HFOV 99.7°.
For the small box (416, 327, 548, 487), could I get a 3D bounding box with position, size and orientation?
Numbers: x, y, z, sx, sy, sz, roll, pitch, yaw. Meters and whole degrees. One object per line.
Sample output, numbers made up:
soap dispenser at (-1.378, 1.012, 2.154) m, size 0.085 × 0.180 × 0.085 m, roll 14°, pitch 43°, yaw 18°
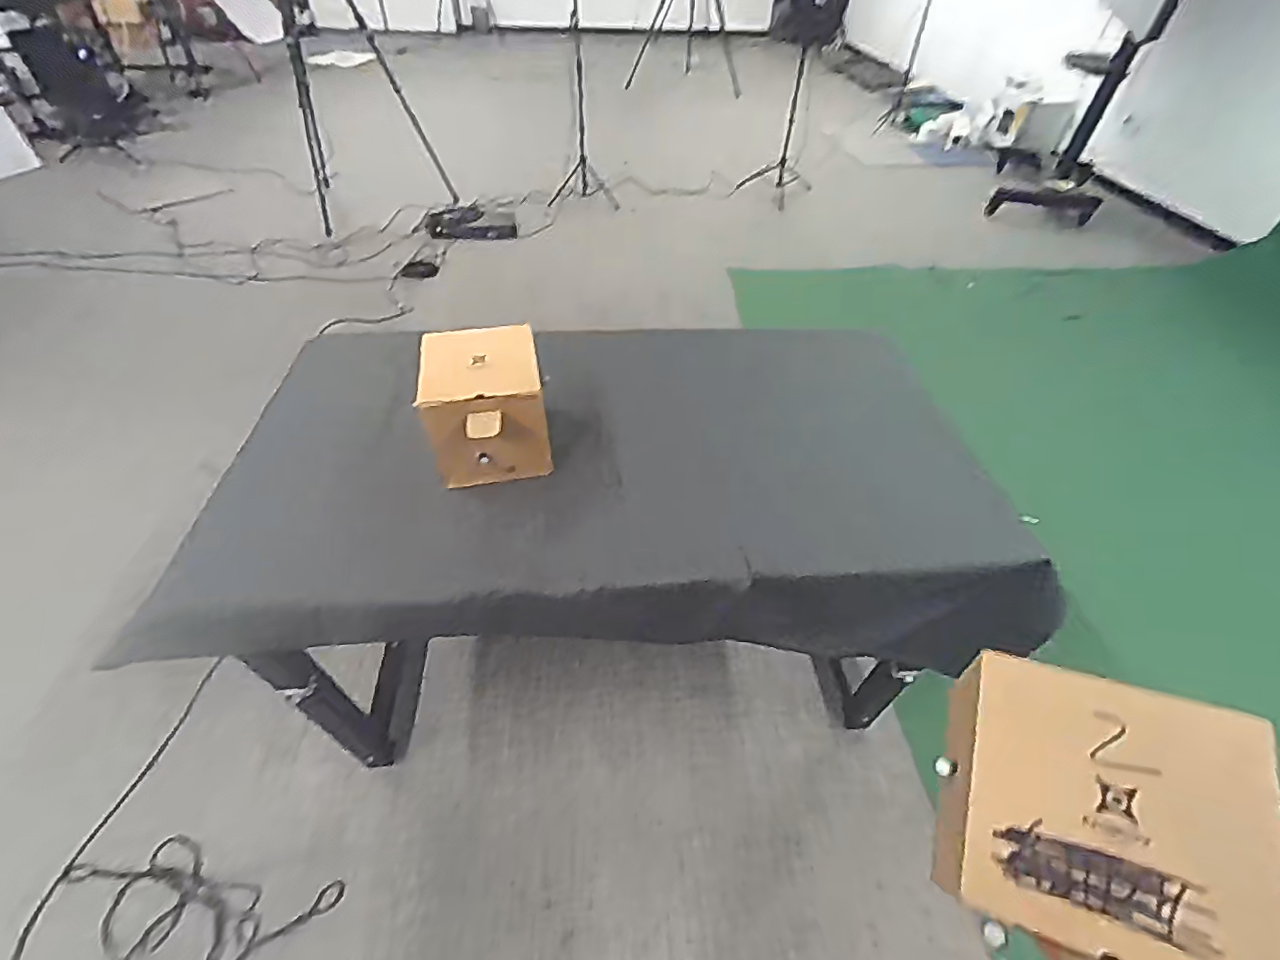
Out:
small box at (-0.237, -0.113, 0.836) m, size 0.168 × 0.176 × 0.179 m, roll -8°, pitch 48°, yaw -11°
